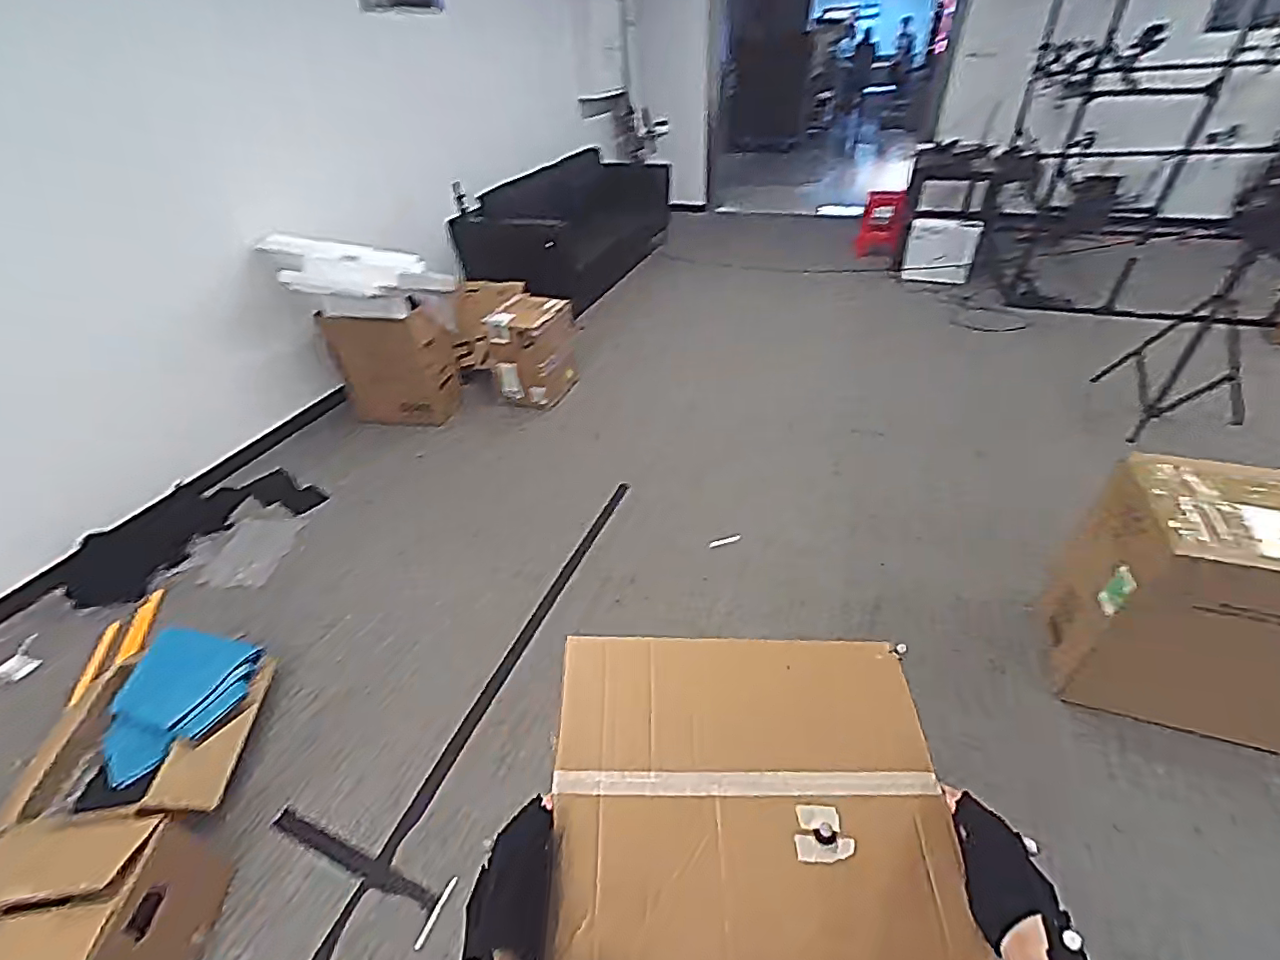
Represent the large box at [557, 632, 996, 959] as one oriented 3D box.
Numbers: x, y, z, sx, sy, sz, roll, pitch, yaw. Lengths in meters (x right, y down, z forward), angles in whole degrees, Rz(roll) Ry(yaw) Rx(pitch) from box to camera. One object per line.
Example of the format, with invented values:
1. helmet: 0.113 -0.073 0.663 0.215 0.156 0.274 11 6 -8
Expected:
1. large box: 0.113 0.403 0.682 0.408 0.320 0.320 2 51 -2
